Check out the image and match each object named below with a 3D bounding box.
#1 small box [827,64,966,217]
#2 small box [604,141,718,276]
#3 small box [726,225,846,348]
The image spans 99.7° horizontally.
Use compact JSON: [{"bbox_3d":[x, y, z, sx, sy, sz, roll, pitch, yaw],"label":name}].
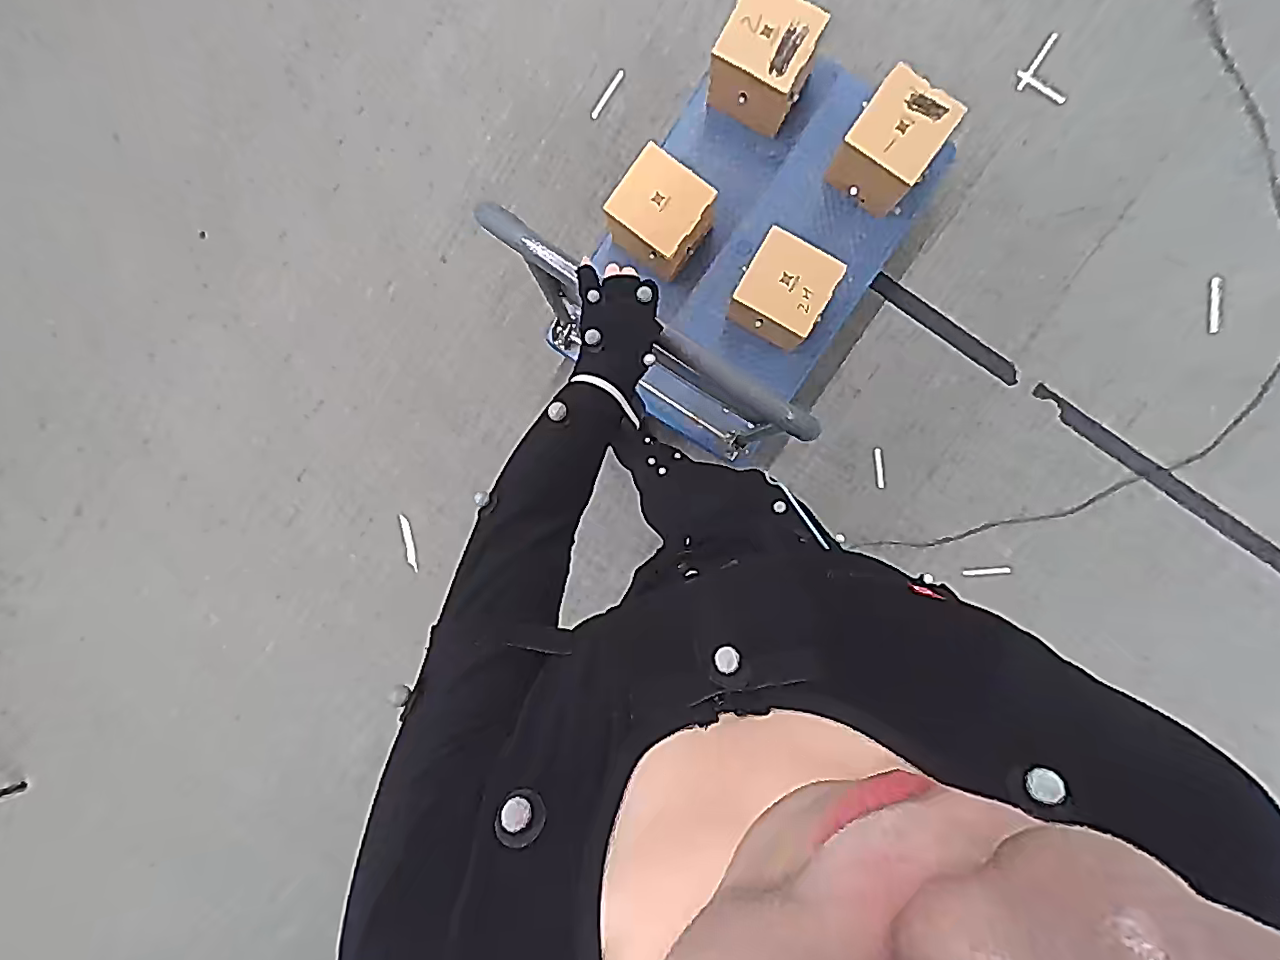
[{"bbox_3d":[0.521,-0.696,1.131,0.168,0.176,0.179,36,97,1],"label":"small box"},{"bbox_3d":[0.044,-0.573,1.171,0.179,0.176,0.168,37,95,-1],"label":"small box"},{"bbox_3d":[0.302,-0.405,1.167,0.179,0.176,0.168,31,96,1],"label":"small box"}]
